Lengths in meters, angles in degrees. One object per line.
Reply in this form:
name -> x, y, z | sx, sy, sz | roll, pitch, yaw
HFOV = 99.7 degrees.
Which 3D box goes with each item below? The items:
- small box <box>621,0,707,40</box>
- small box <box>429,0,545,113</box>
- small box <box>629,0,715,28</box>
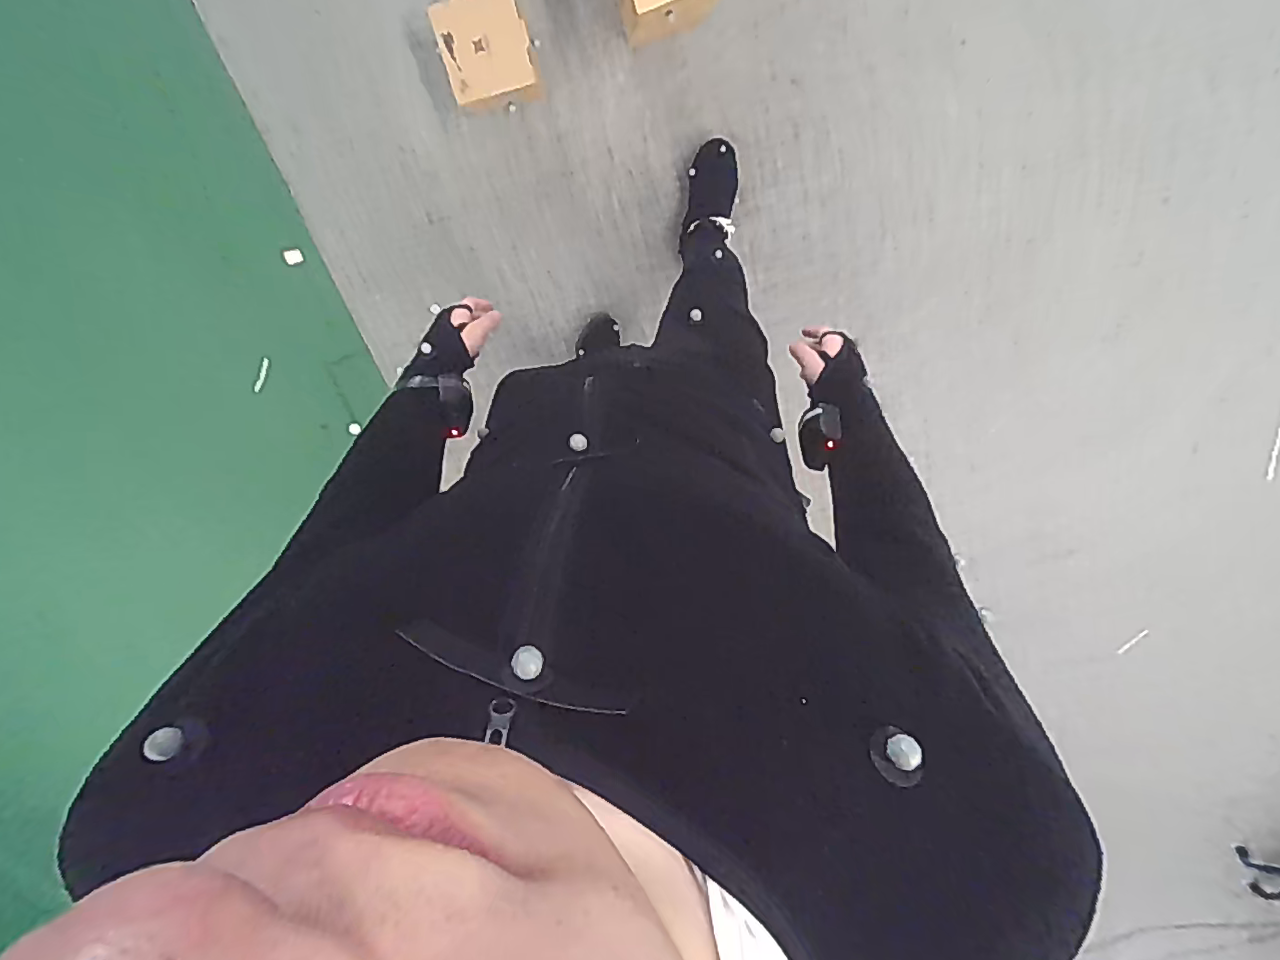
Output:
small box -> 0.040, -1.016, 1.075 | 0.179, 0.176, 0.168 | -13, 117, 7
small box -> -0.309, -0.902, 1.144 | 0.179, 0.176, 0.168 | -11, 117, 6
small box -> 0.048, -0.927, 0.939 | 0.168, 0.176, 0.179 | -16, 117, 9
